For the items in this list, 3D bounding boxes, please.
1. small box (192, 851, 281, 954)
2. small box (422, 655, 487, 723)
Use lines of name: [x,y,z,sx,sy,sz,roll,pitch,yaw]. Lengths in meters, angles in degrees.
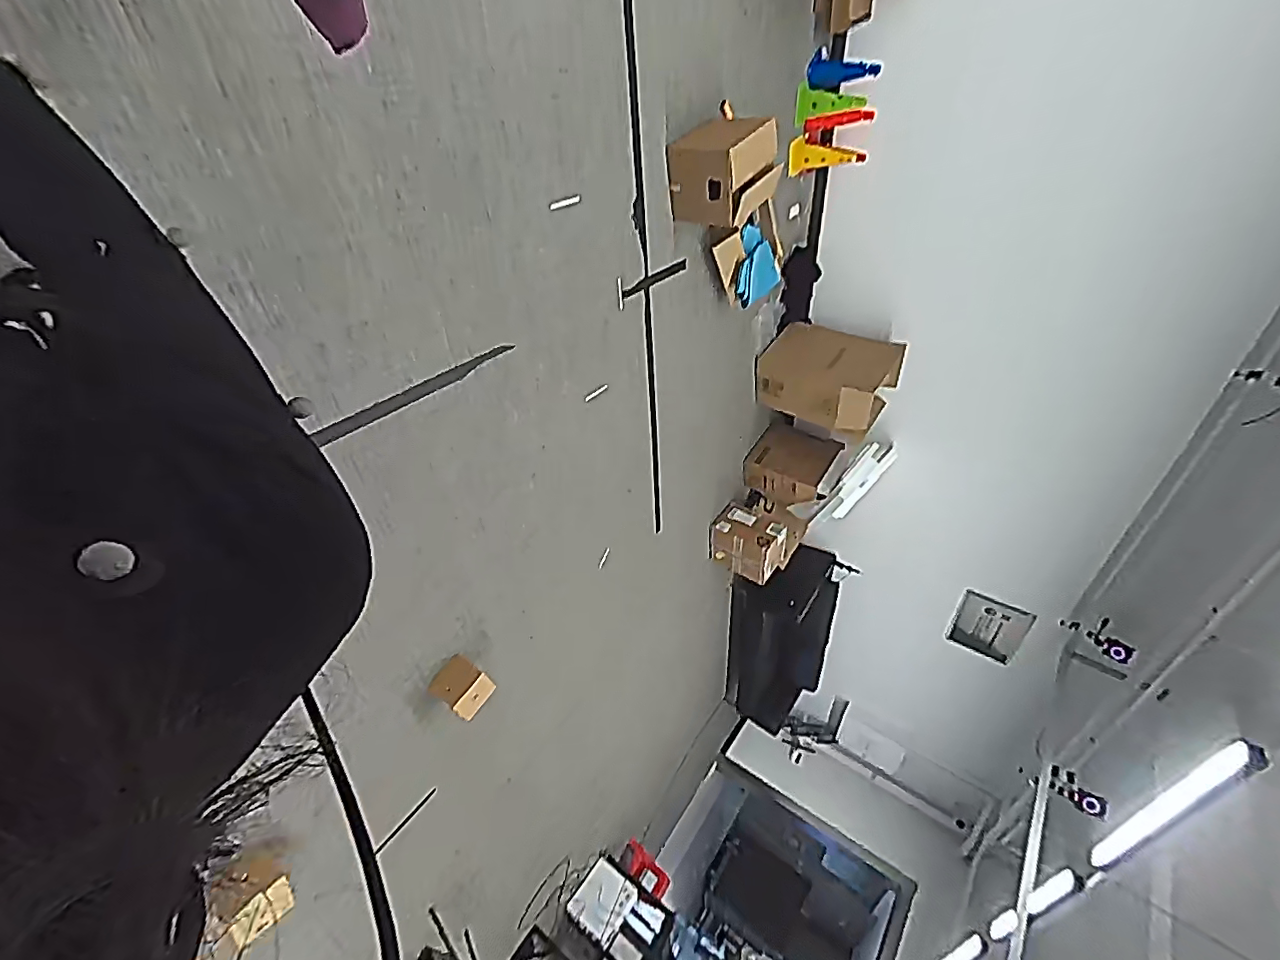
small box: [-1.299,1.349,1.742,0.168,0.176,0.179,-28,131,-48]
small box: [-0.785,0.874,2.267,0.179,0.176,0.168,-51,148,-29]
